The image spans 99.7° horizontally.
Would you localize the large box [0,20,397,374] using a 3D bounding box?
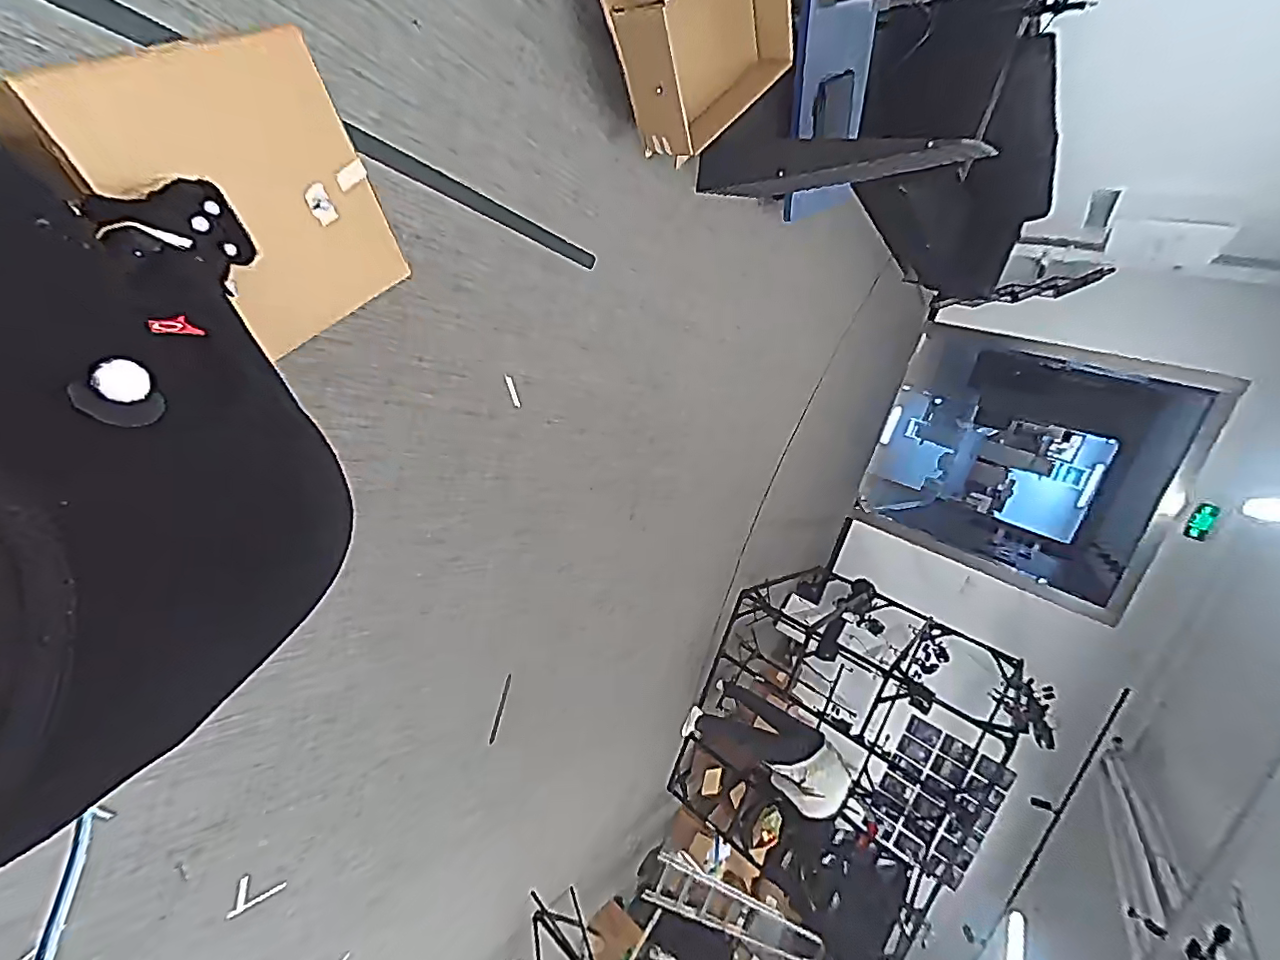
[{"bbox_3d":[-0.637,-0.374,0.743,0.320,0.408,0.320,-57,147,-37],"label":"large box"}]
